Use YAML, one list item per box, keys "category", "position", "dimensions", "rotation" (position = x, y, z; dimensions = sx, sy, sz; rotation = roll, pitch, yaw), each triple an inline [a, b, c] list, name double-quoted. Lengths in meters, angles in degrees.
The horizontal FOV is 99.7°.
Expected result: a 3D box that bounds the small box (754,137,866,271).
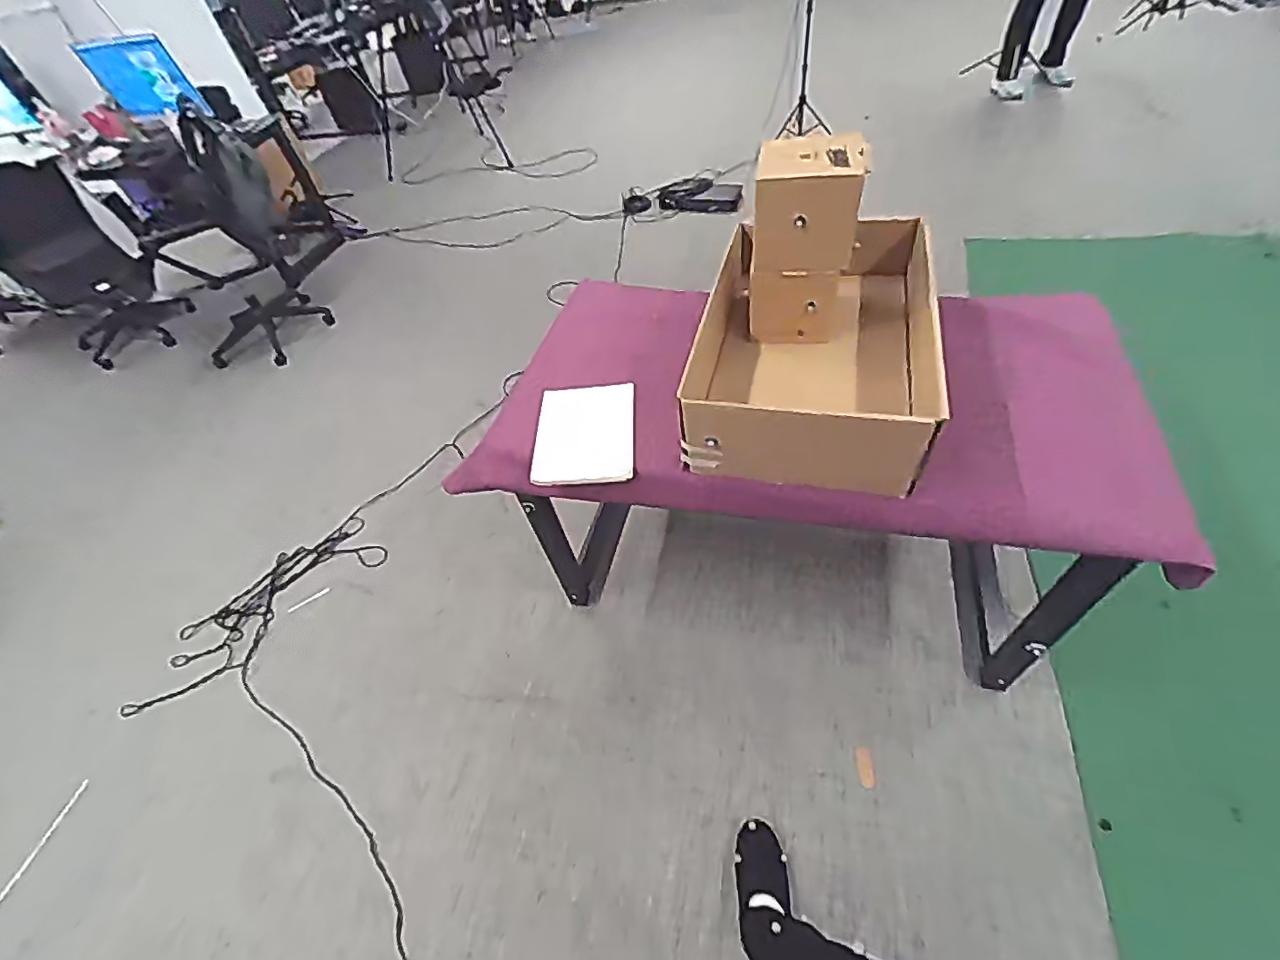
- category: "small box"
  position: [0.306, -0.501, 0.992]
  dimensions: [0.179, 0.176, 0.168]
  rotation: [5, 52, 14]
